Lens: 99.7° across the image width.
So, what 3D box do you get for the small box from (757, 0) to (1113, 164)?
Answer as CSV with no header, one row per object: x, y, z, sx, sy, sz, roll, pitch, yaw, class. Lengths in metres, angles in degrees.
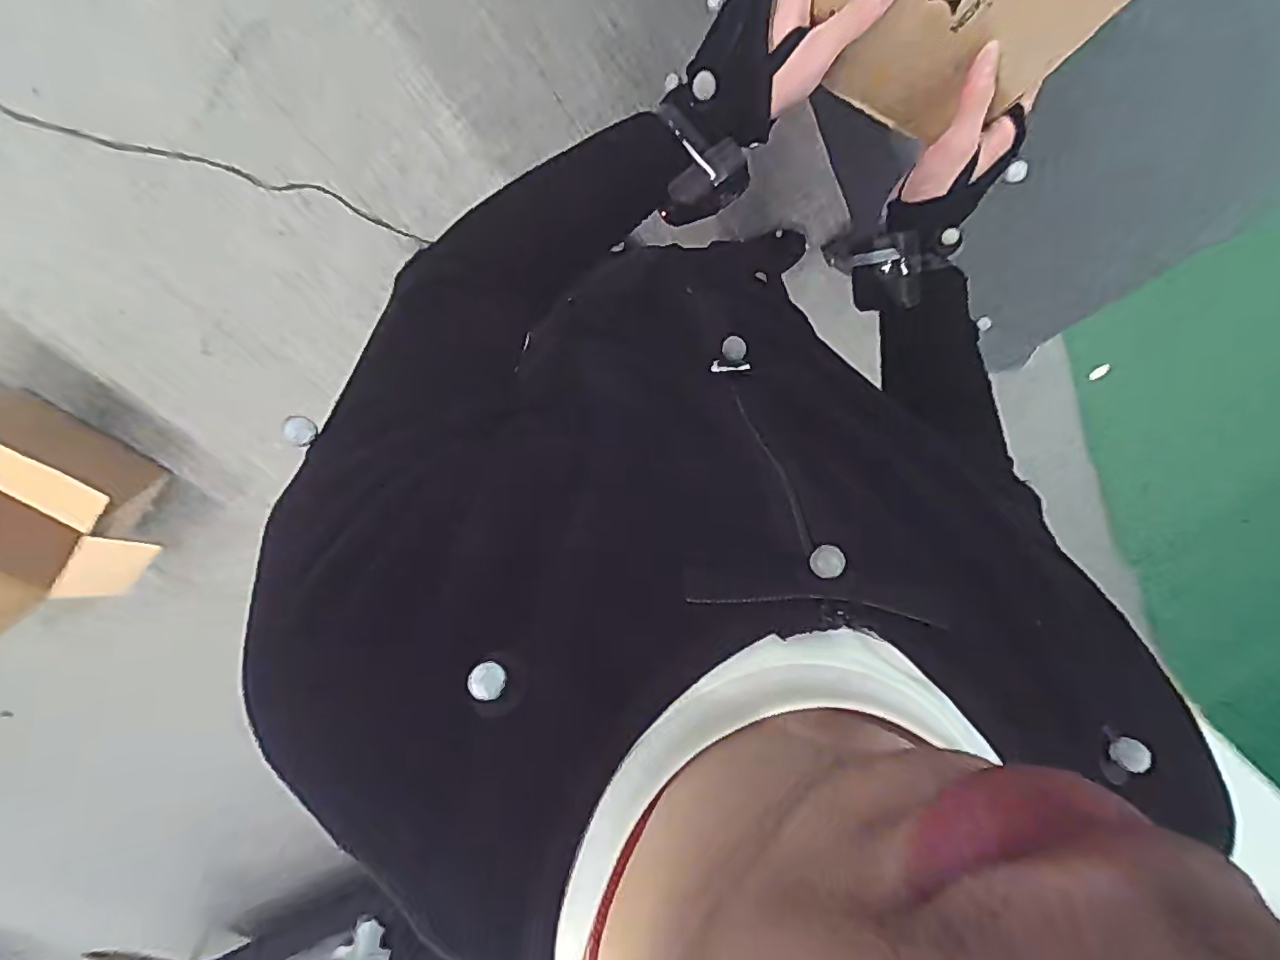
0.201,-0.376,0.375,0.179,0.176,0.168,14,158,-19,small box
